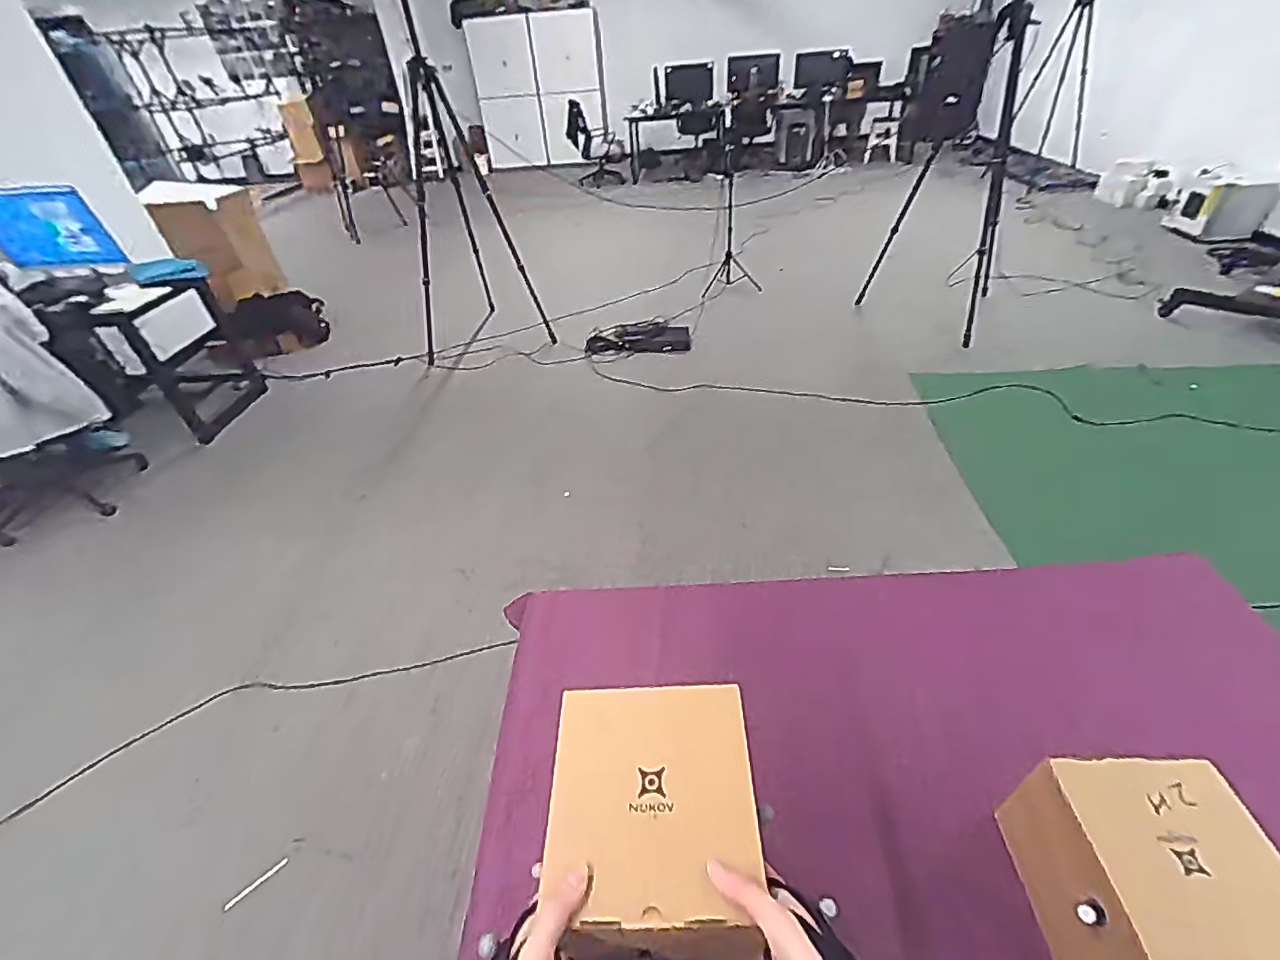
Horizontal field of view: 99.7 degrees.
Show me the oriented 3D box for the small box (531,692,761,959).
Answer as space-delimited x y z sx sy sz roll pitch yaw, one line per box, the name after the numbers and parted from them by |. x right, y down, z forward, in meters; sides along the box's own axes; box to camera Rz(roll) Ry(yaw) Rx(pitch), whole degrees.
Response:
0.009 0.316 0.492 0.168 0.176 0.179 1 45 3 | small box

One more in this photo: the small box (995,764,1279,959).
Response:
0.516 0.425 0.565 0.168 0.176 0.179 -1 39 5 | small box
